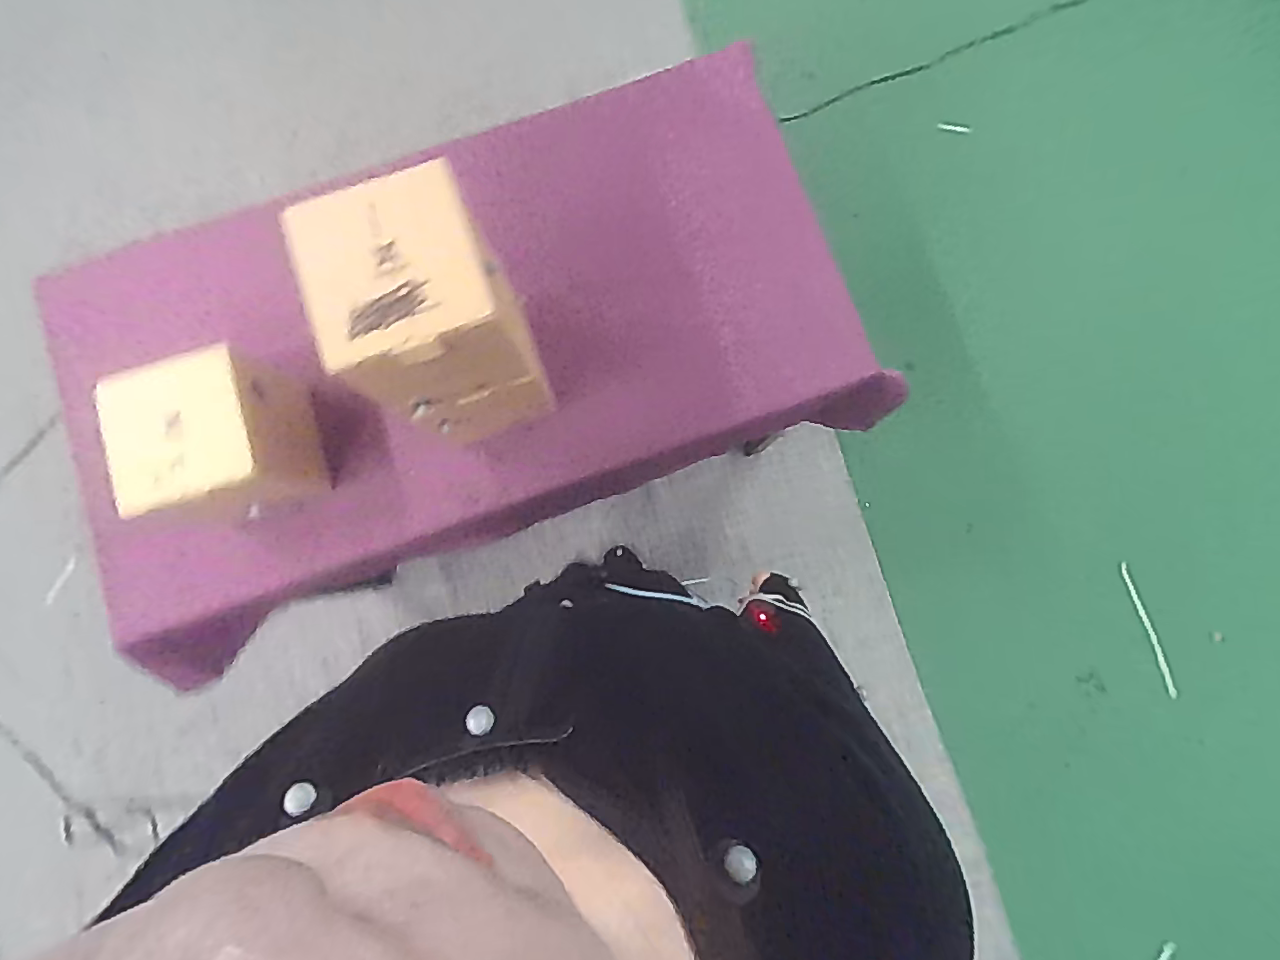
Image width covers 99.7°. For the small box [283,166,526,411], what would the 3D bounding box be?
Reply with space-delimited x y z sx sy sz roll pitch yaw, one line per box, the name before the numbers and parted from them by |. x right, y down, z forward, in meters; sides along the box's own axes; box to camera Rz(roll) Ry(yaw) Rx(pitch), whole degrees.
small box | -0.239 -0.188 0.591 0.168 0.176 0.179 -20 81 -3

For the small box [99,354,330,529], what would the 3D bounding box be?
small box | -0.563 -0.041 0.736 0.168 0.176 0.179 -19 82 -2
